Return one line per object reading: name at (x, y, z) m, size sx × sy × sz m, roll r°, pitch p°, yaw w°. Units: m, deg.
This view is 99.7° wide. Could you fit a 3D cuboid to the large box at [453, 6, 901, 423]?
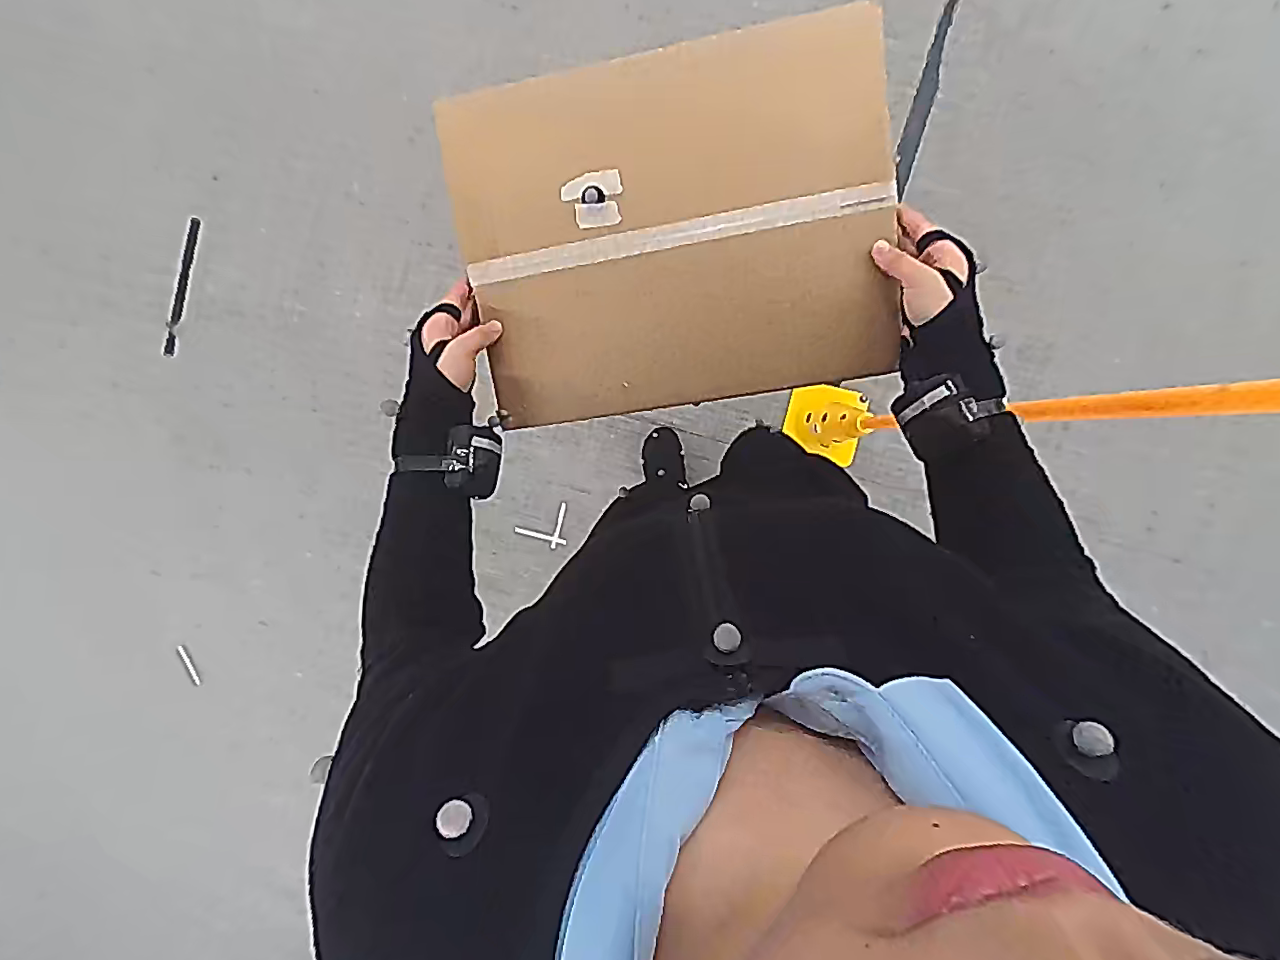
large box at (0.053, -0.270, 0.667) m, size 0.408 × 0.320 × 0.320 m, roll -8°, pitch 101°, yaw 8°
